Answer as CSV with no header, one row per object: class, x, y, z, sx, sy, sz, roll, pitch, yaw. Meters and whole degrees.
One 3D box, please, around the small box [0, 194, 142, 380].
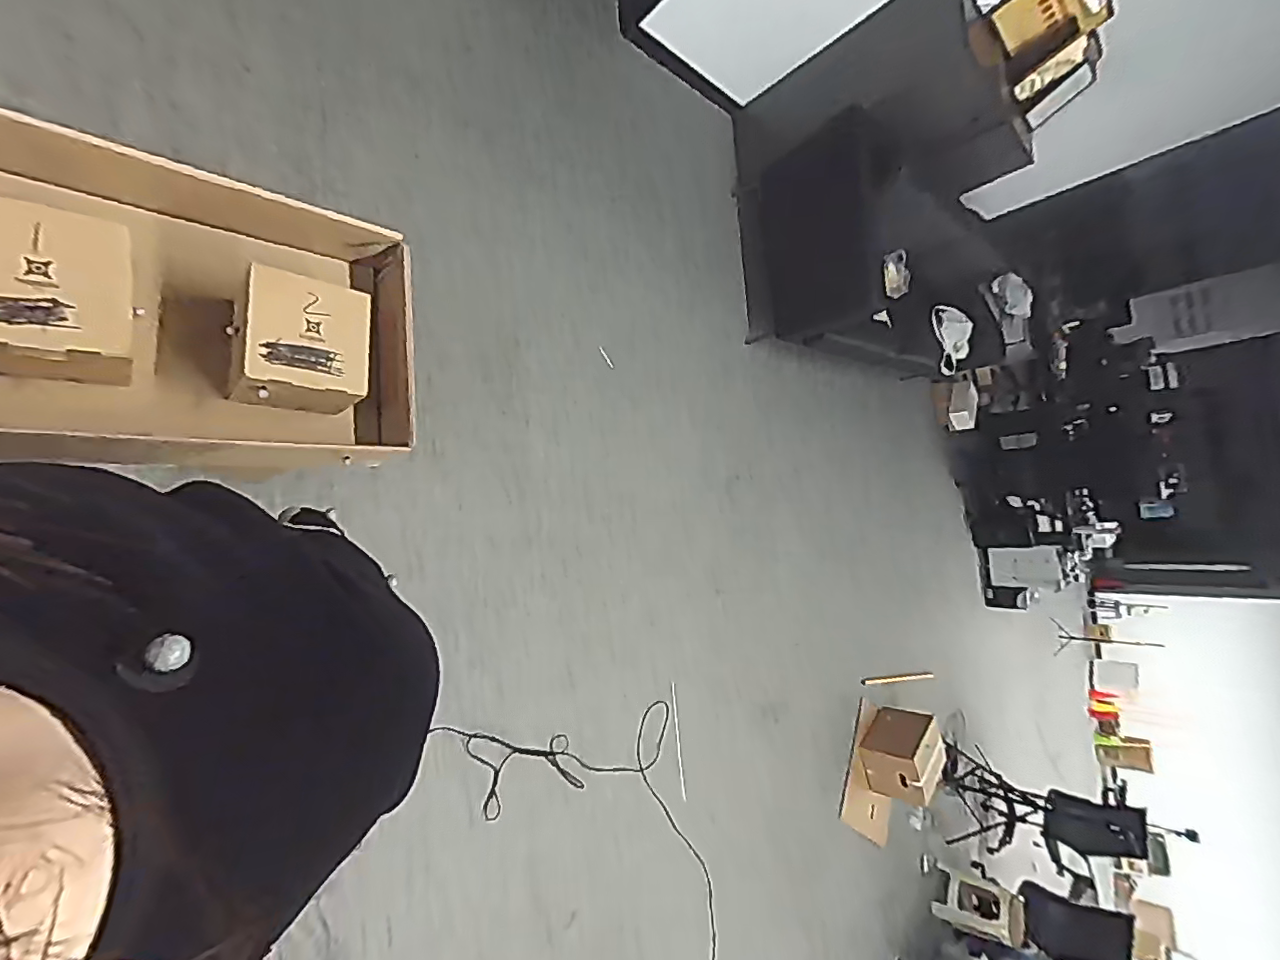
small box,-0.755,-0.235,0.696,0.168,0.176,0.179,-1,85,-44
